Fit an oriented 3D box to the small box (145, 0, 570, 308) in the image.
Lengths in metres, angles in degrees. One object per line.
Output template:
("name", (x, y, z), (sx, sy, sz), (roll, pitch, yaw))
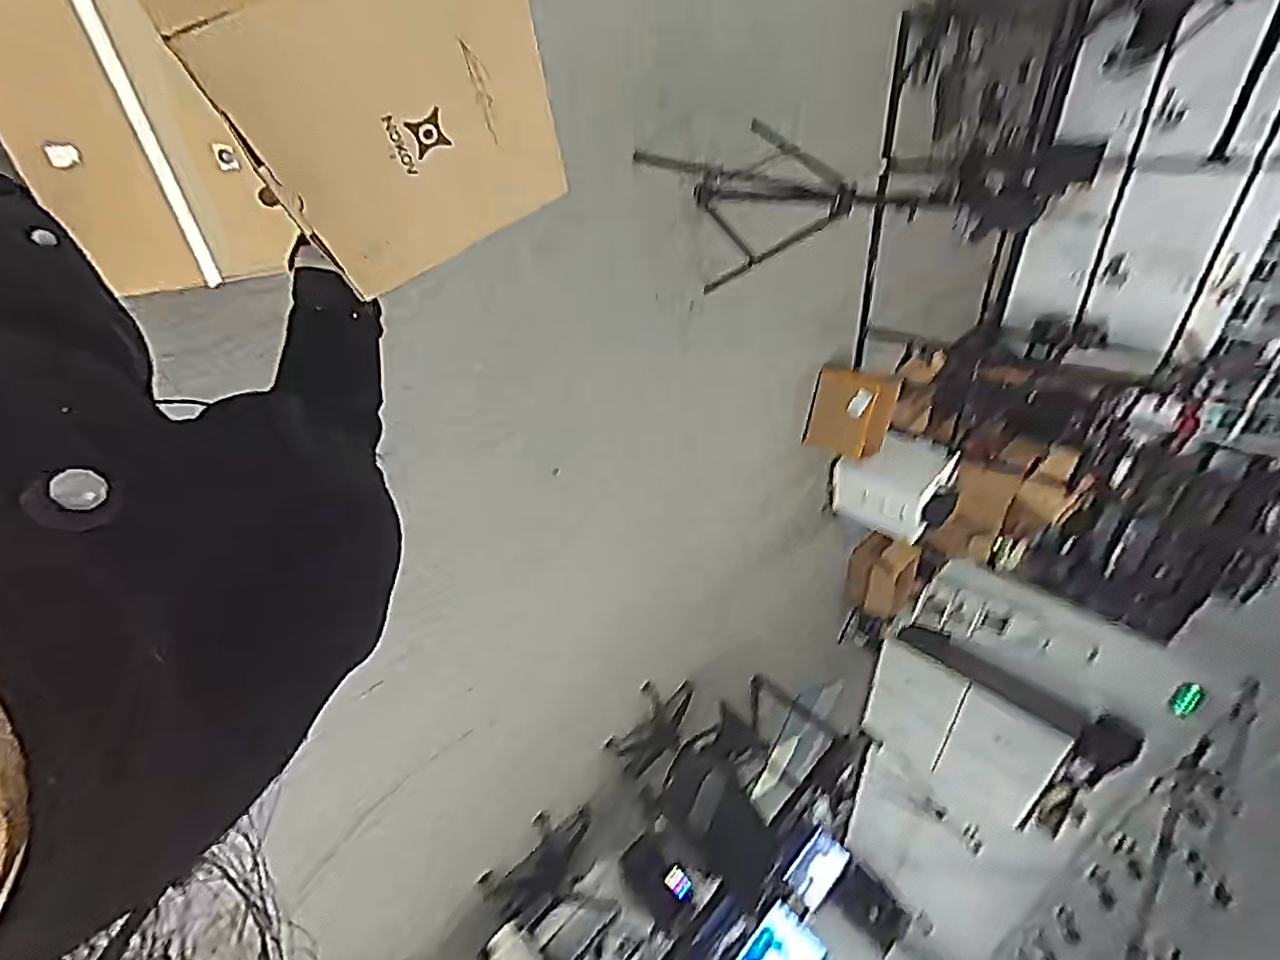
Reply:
("small box", (-0.175, -0.259, 0.355), (0.179, 0.176, 0.168), (-37, 160, -11))
